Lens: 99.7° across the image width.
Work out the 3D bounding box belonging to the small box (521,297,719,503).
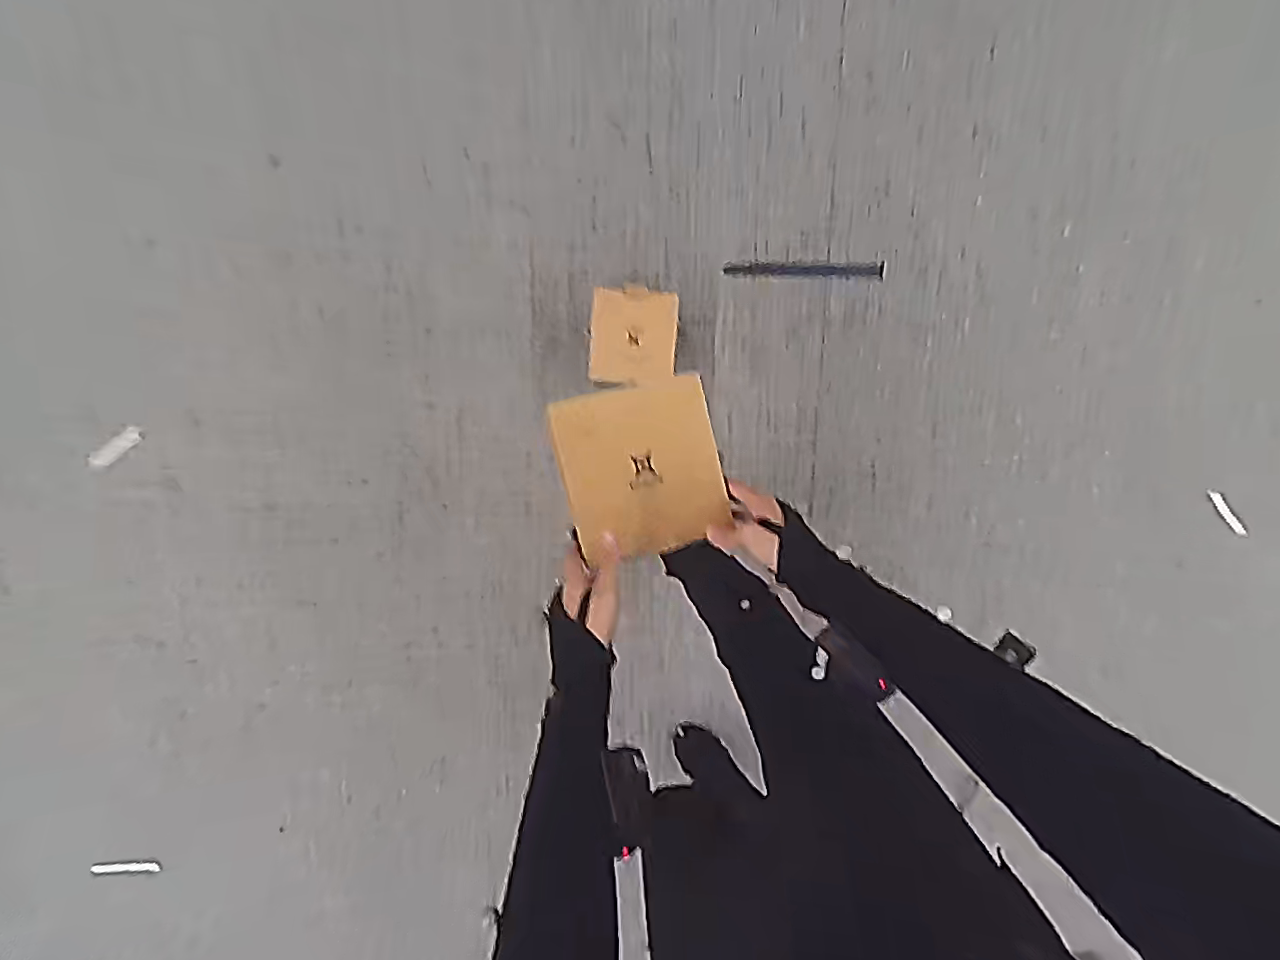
[{"bbox_3d":[-0.032,-0.080,0.602,0.168,0.176,0.179,-15,95,-10],"label":"small box"}]
